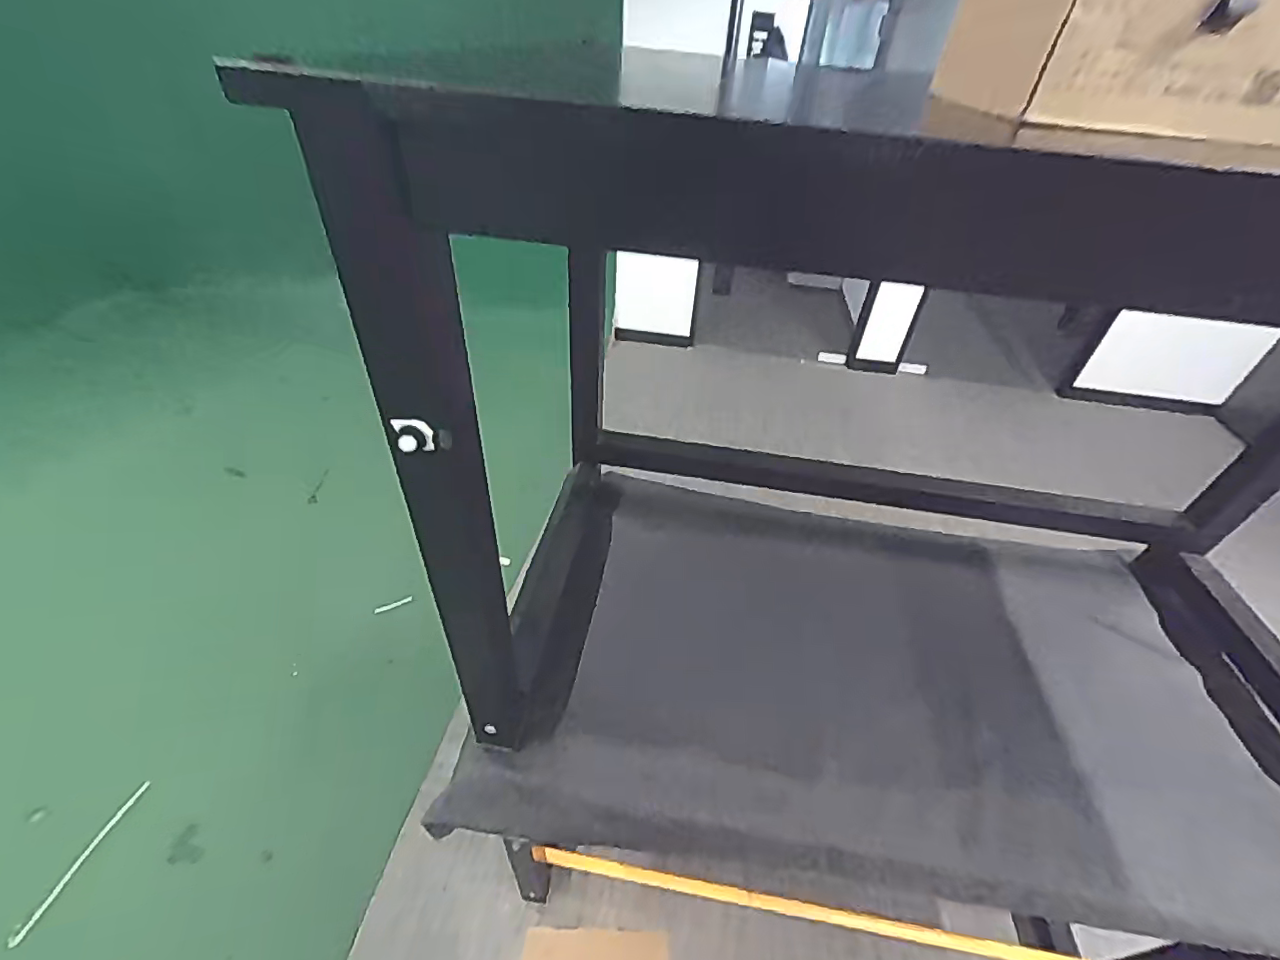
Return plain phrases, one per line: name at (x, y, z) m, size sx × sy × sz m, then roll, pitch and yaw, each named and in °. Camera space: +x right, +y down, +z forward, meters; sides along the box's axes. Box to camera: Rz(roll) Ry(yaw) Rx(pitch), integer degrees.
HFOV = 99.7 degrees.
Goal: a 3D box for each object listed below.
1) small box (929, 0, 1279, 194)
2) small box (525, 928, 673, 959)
small box at (0.293, -0.278, 0.302) m, size 0.168 × 0.176 × 0.179 m, roll 7°, pitch 41°, yaw 3°
small box at (-0.047, 0.624, 0.569) m, size 0.168 × 0.176 × 0.179 m, roll -1°, pitch 21°, yaw 2°
